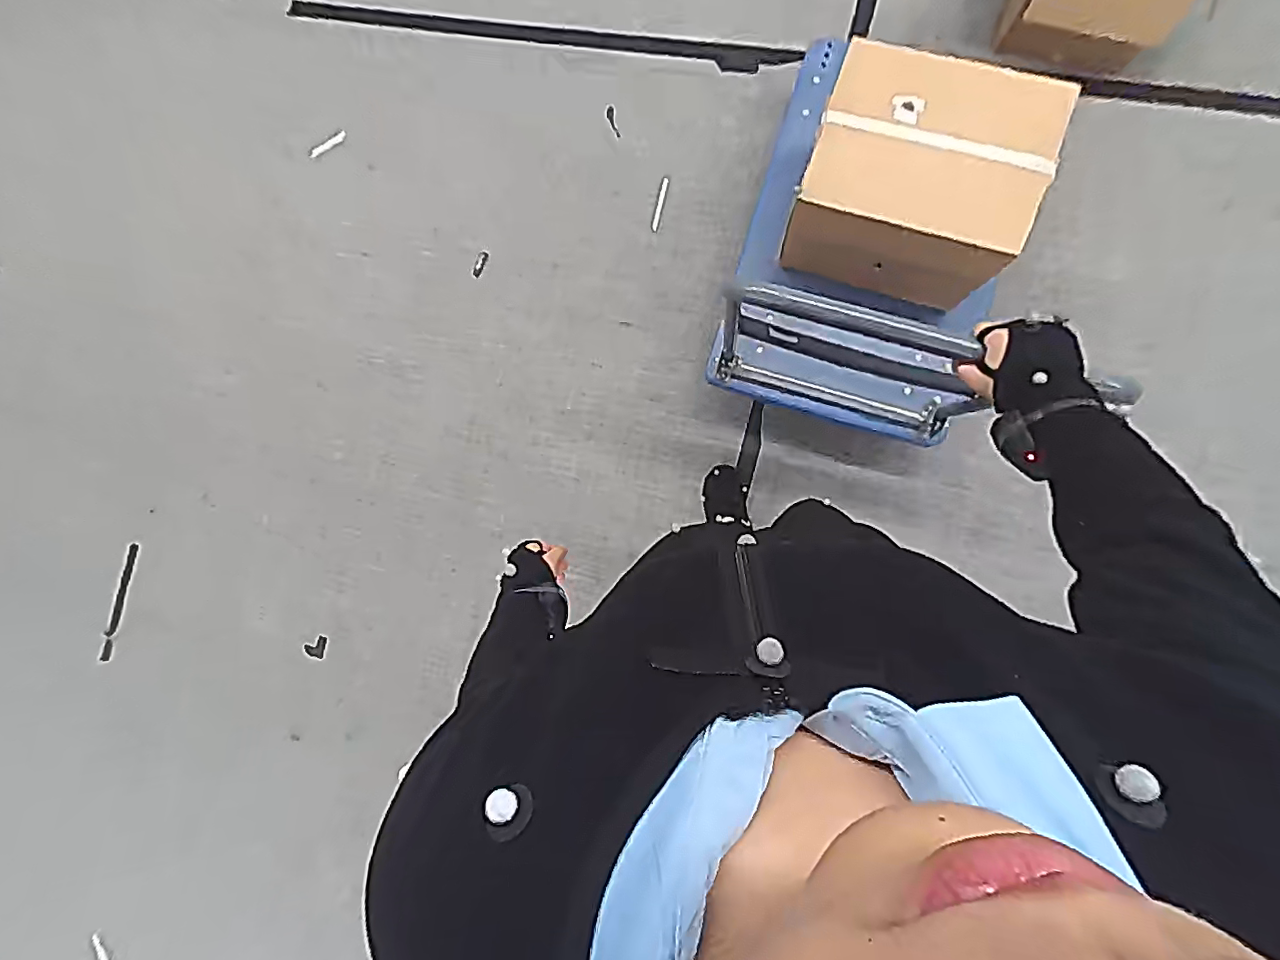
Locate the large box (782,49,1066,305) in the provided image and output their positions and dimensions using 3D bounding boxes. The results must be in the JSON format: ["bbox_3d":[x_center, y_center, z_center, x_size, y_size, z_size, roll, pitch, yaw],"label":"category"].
[{"bbox_3d":[0.551,-0.607,1.138,0.408,0.320,0.320,19,91,9],"label":"large box"}]
